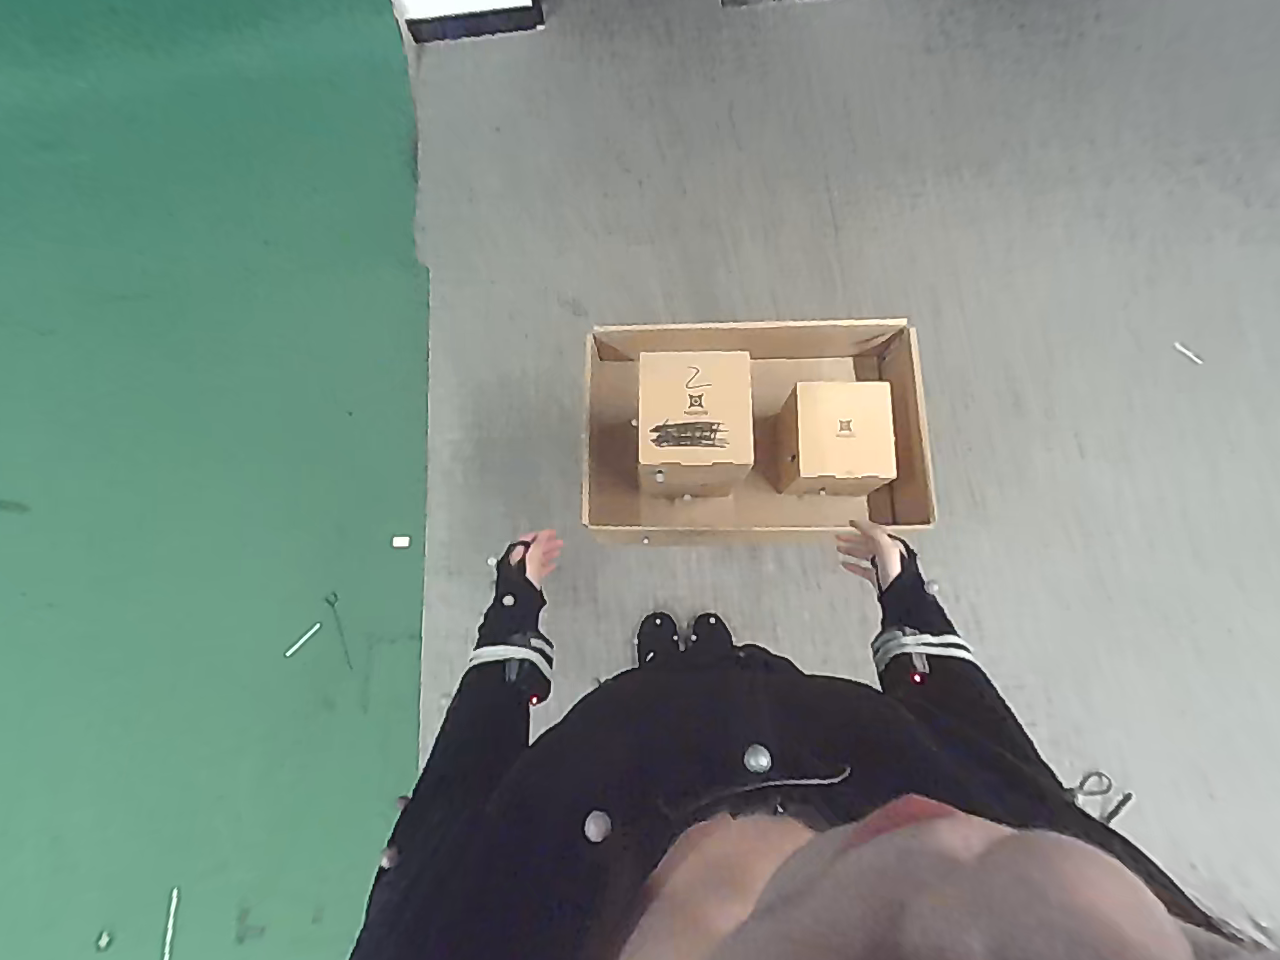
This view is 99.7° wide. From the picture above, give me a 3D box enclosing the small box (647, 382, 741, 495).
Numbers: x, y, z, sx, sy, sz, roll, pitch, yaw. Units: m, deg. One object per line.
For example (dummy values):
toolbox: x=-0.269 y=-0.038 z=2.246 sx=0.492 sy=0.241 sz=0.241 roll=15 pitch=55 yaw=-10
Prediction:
small box: x=0.095 y=-0.072 z=1.024 sx=0.168 sy=0.176 sz=0.179 roll=-2 pitch=79 yaw=2
